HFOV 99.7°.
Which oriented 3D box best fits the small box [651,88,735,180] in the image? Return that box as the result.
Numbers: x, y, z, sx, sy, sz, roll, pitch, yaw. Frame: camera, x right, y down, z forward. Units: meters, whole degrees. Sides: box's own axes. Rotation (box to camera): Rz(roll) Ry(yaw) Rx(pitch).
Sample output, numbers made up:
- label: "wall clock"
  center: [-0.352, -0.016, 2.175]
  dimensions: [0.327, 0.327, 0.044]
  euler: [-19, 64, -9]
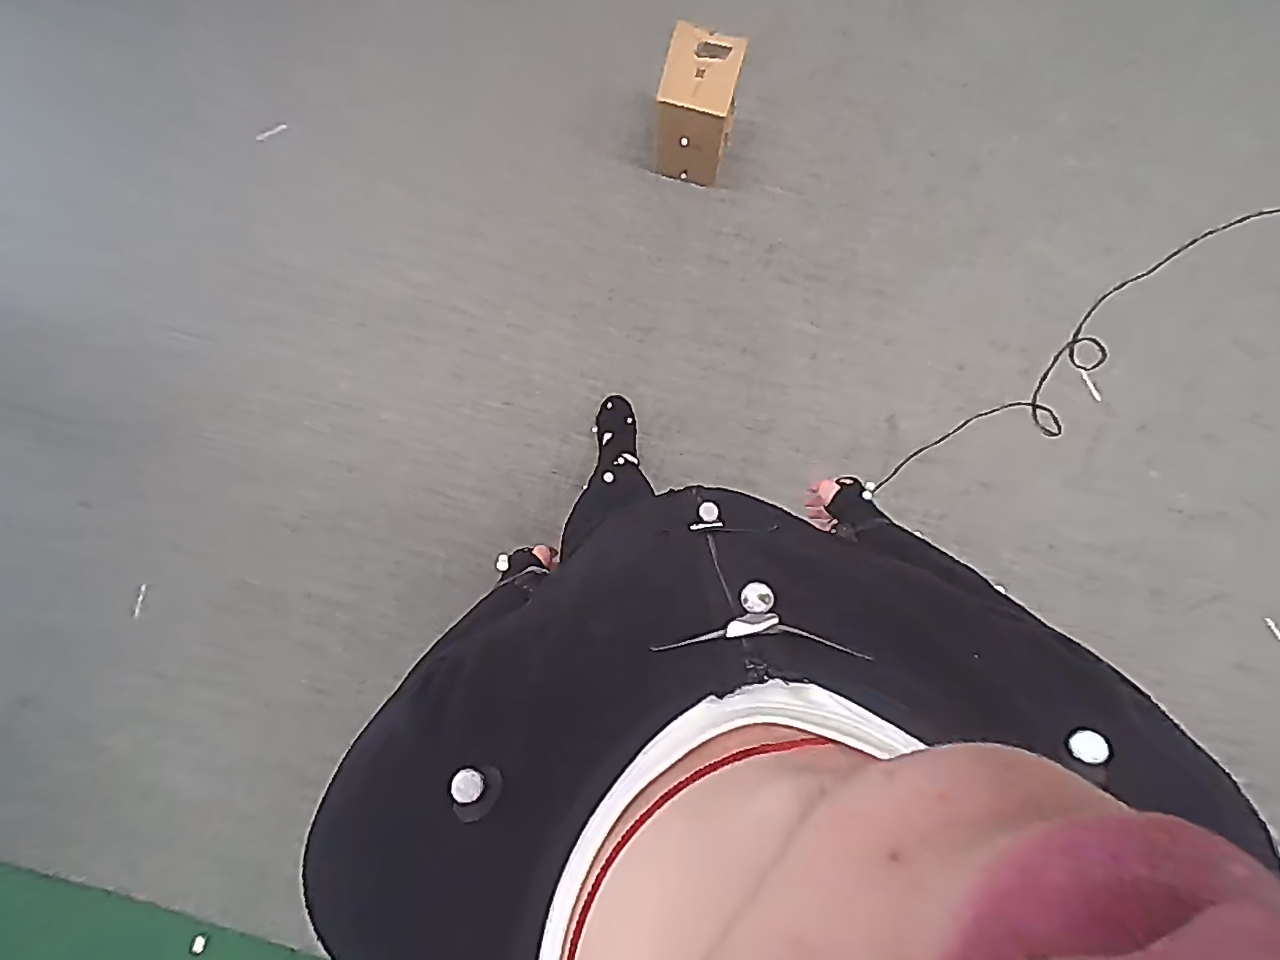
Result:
- label: "small box"
  center: [0.134, -0.936, 1.443]
  dimensions: [0.179, 0.176, 0.168]
  euler: [17, 92, 0]

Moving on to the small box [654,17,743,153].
- label: "small box"
  center: [0.130, -0.923, 1.278]
  dimensions: [0.168, 0.176, 0.179]
  euler: [16, 93, 1]
